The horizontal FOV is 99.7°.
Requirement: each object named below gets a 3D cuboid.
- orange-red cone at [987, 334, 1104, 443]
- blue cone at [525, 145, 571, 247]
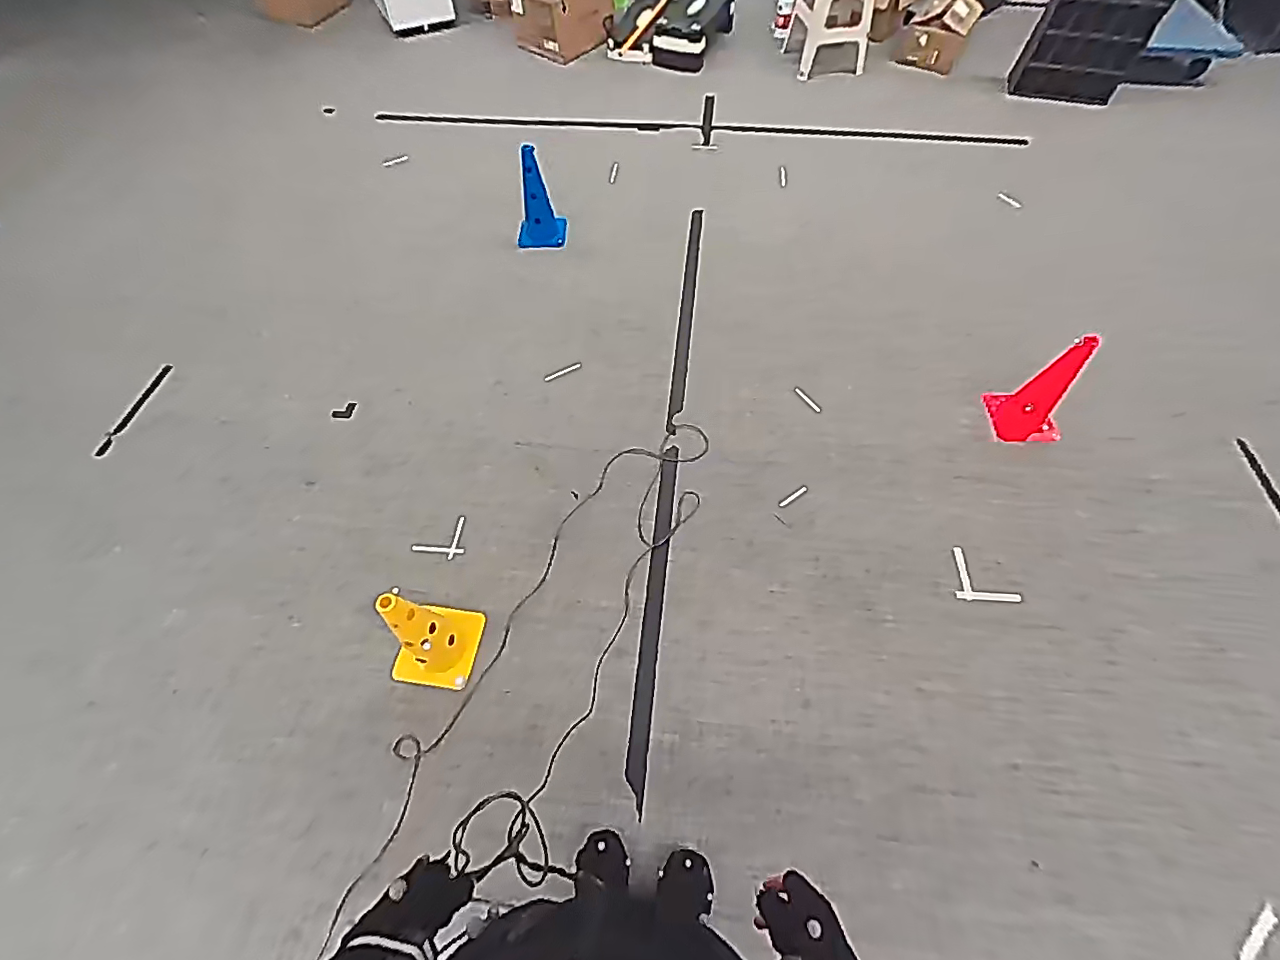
[{"bbox_3d":[1.269,-0.300,1.648,0.198,0.360,0.199,2,57,1],"label":"orange-red cone"},{"bbox_3d":[-0.402,-1.158,2.202,0.192,0.380,0.193,1,58,1],"label":"blue cone"}]
